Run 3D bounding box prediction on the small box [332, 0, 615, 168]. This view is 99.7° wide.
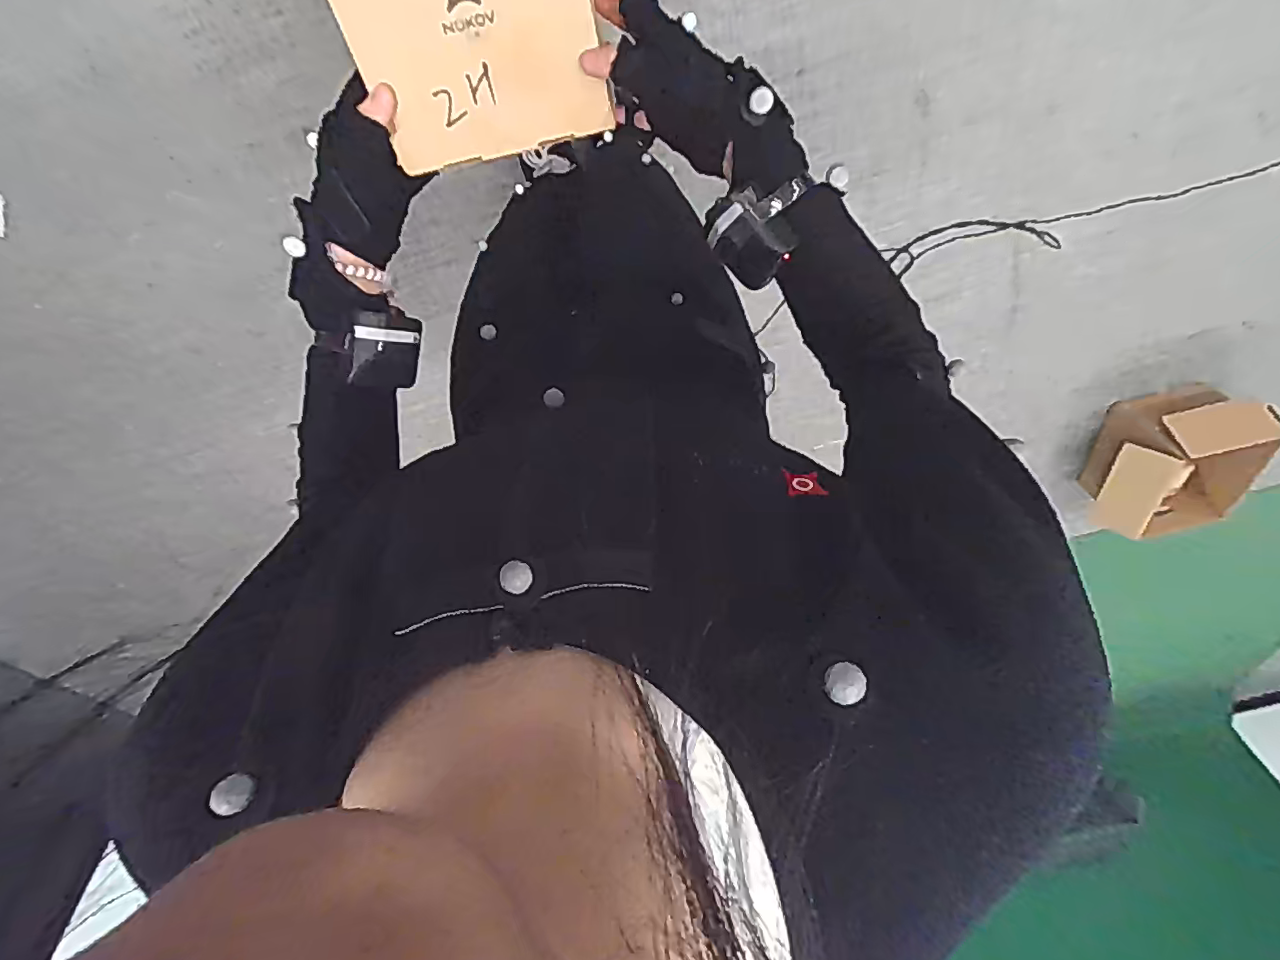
[{"bbox_3d":[-0.116,-0.362,0.401,0.168,0.176,0.179,-9,133,6],"label":"small box"}]
